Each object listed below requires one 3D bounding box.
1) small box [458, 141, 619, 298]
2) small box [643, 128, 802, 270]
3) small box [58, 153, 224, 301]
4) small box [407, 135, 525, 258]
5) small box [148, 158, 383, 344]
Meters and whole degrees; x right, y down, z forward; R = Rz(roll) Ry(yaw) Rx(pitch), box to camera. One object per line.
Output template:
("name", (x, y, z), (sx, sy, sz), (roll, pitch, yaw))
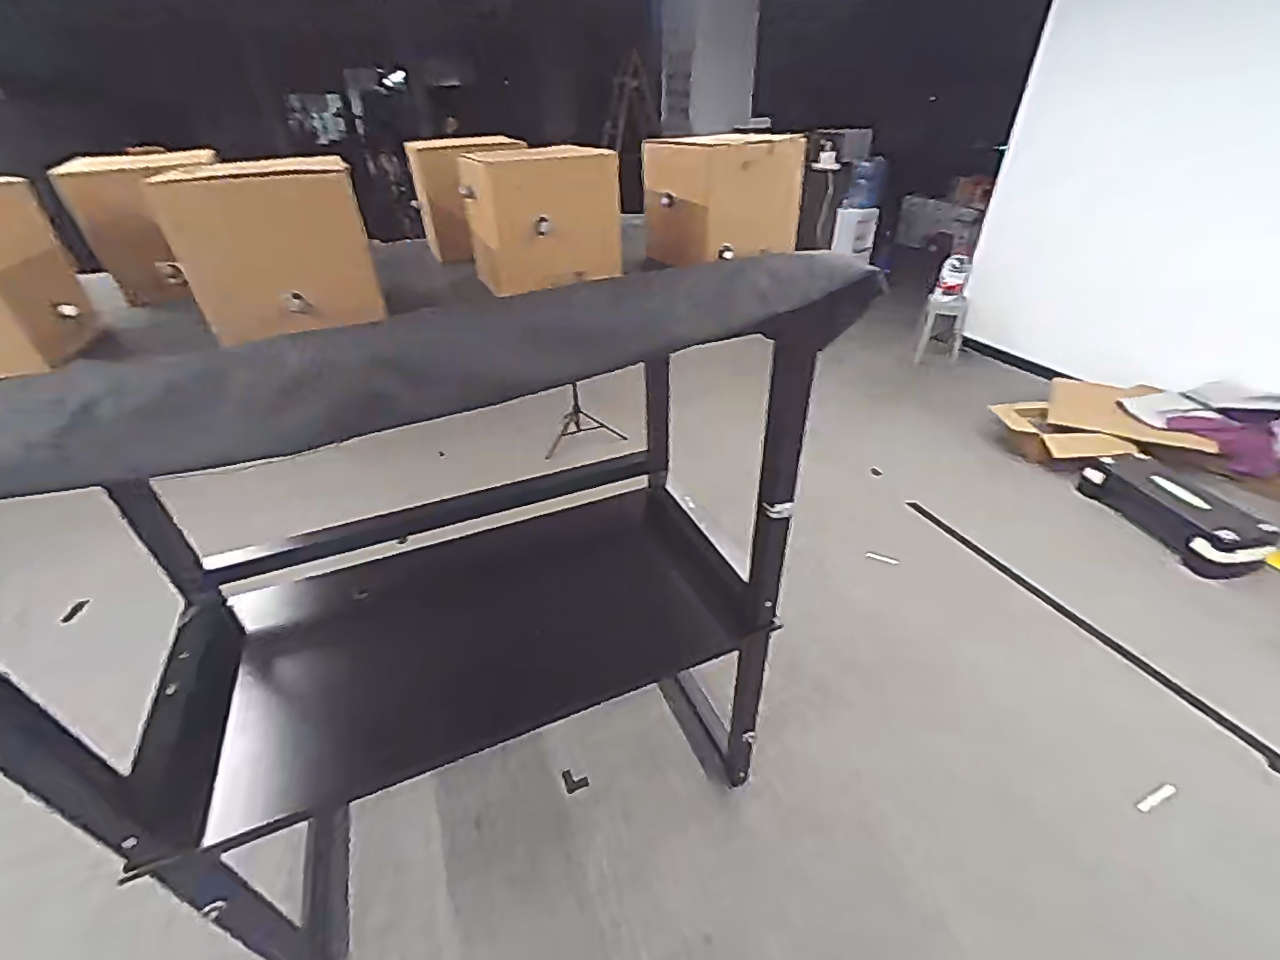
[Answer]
("small box", (-0.136, -0.358, 0.744), (0.168, 0.176, 0.179), (-17, 37, -20))
("small box", (0.119, -0.426, 0.821), (0.168, 0.176, 0.179), (-19, 37, -22))
("small box", (-0.677, -0.375, 0.795), (0.168, 0.176, 0.179), (-21, 39, -23))
("small box", (-0.289, -0.496, 0.945), (0.179, 0.176, 0.168), (-15, 38, -18))
("small box", (-0.417, -0.277, 0.643), (0.179, 0.176, 0.168), (-15, 37, -19))
